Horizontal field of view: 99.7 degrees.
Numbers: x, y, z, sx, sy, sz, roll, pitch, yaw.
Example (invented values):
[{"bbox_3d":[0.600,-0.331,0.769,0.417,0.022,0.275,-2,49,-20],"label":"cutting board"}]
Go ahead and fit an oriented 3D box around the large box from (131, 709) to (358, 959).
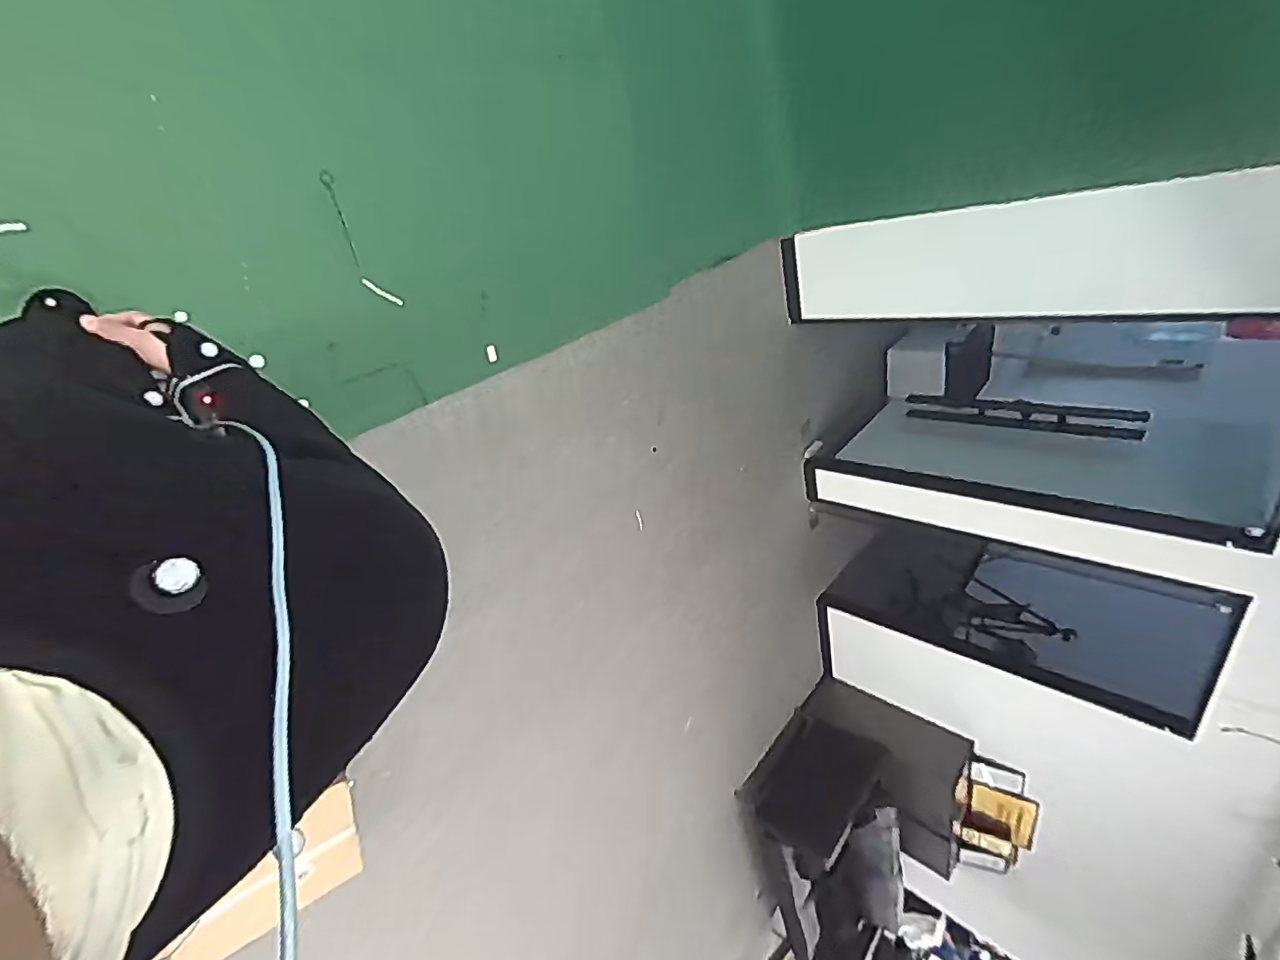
[{"bbox_3d":[-1.033,0.894,1.431,0.408,0.320,0.320,-15,112,-44],"label":"large box"}]
